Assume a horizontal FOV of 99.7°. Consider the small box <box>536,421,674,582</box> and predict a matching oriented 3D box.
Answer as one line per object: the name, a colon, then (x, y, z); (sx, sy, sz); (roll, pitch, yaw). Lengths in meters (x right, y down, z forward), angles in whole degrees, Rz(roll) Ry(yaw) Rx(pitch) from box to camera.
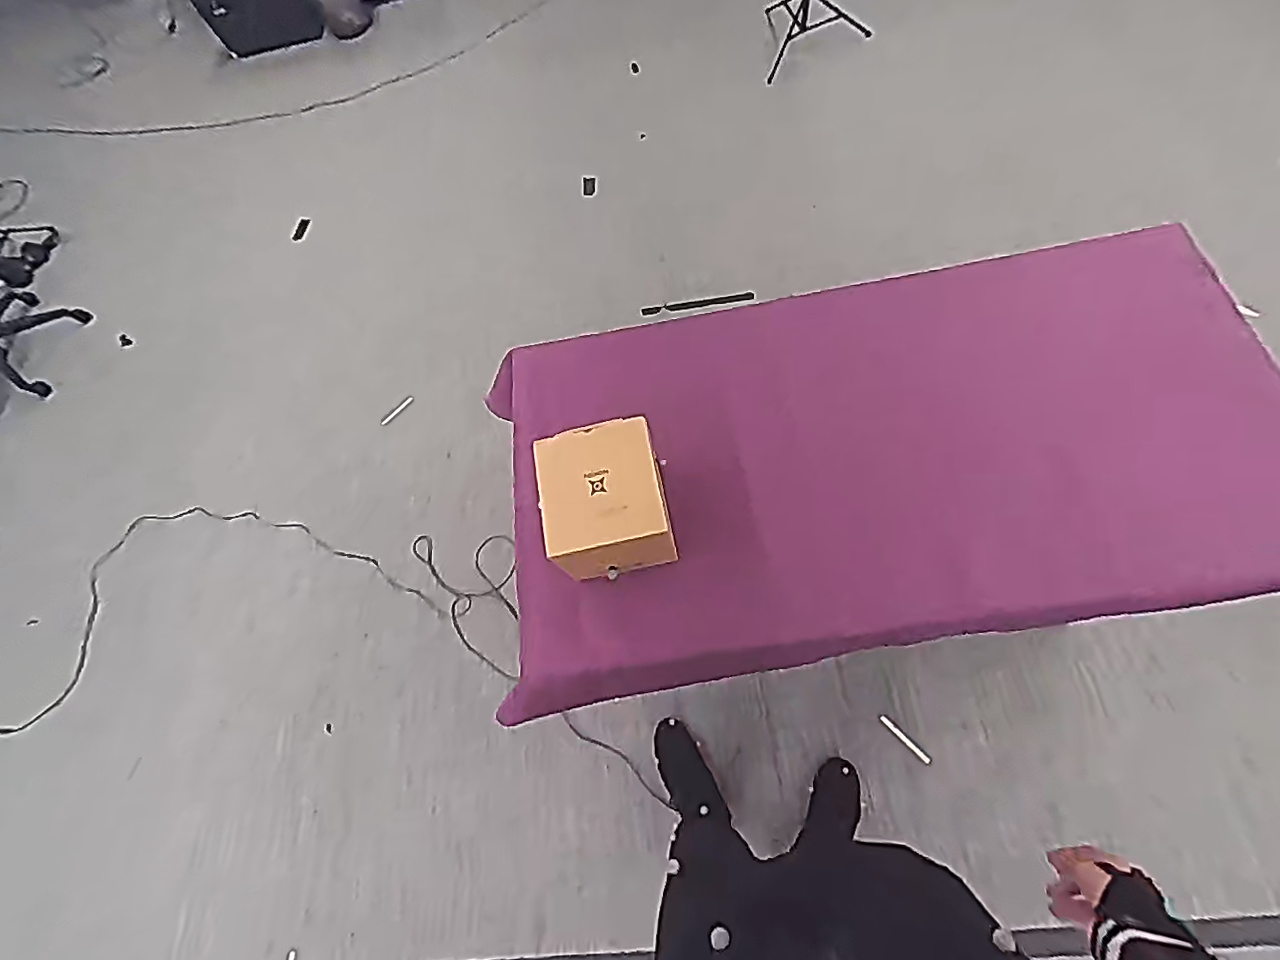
small box: (-0.048, 0.039, 0.815); (0.168, 0.176, 0.179); (-13, 66, 4)
